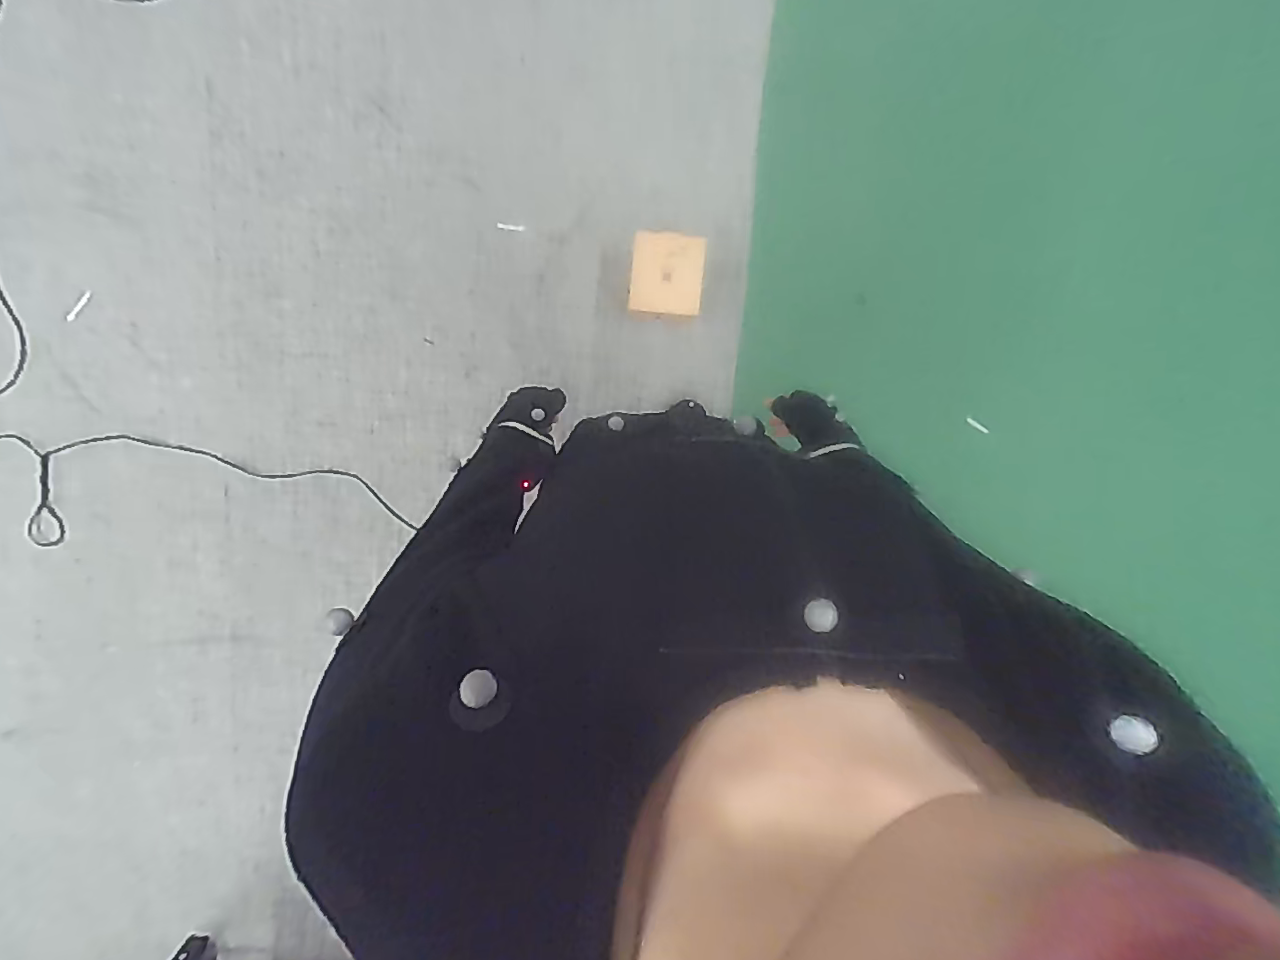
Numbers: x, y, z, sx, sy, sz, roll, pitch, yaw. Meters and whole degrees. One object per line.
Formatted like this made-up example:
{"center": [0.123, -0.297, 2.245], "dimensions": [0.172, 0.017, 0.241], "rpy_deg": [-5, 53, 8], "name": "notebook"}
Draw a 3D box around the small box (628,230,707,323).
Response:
{"center": [0.060, -0.486, 1.317], "dimensions": [0.168, 0.176, 0.179], "rpy_deg": [4, 99, -4], "name": "small box"}
